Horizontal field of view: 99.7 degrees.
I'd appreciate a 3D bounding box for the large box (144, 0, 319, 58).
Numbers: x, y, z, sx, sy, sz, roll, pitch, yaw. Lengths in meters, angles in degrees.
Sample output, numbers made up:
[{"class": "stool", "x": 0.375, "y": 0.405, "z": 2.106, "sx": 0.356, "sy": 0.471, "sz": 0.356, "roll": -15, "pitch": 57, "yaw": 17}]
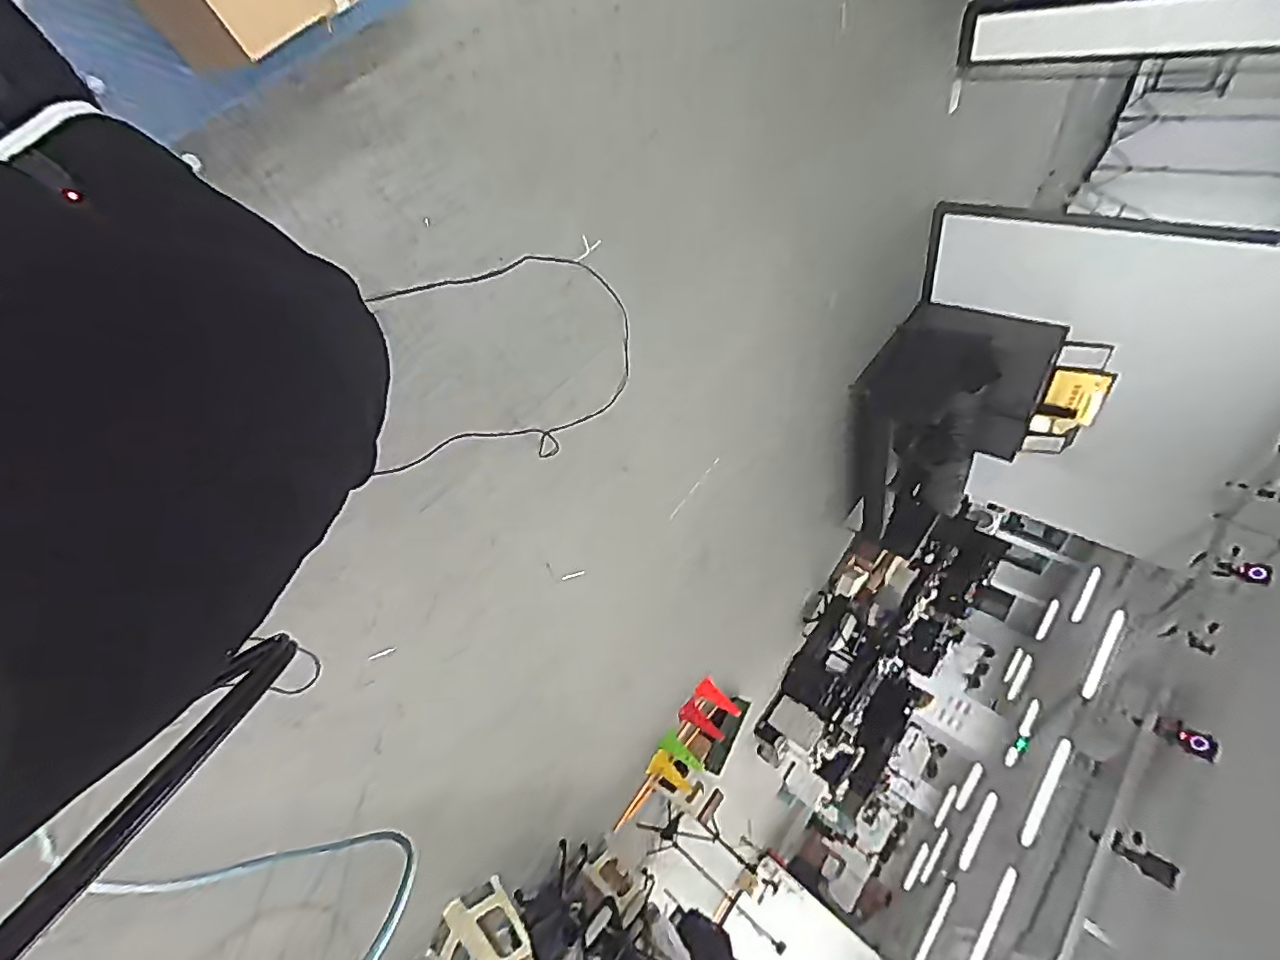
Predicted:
[{"class": "large box", "x": -0.602, "y": -0.851, "z": 0.690, "sx": 0.320, "sy": 0.320, "sz": 0.408, "roll": -51, "pitch": 144, "yaw": -16}]
